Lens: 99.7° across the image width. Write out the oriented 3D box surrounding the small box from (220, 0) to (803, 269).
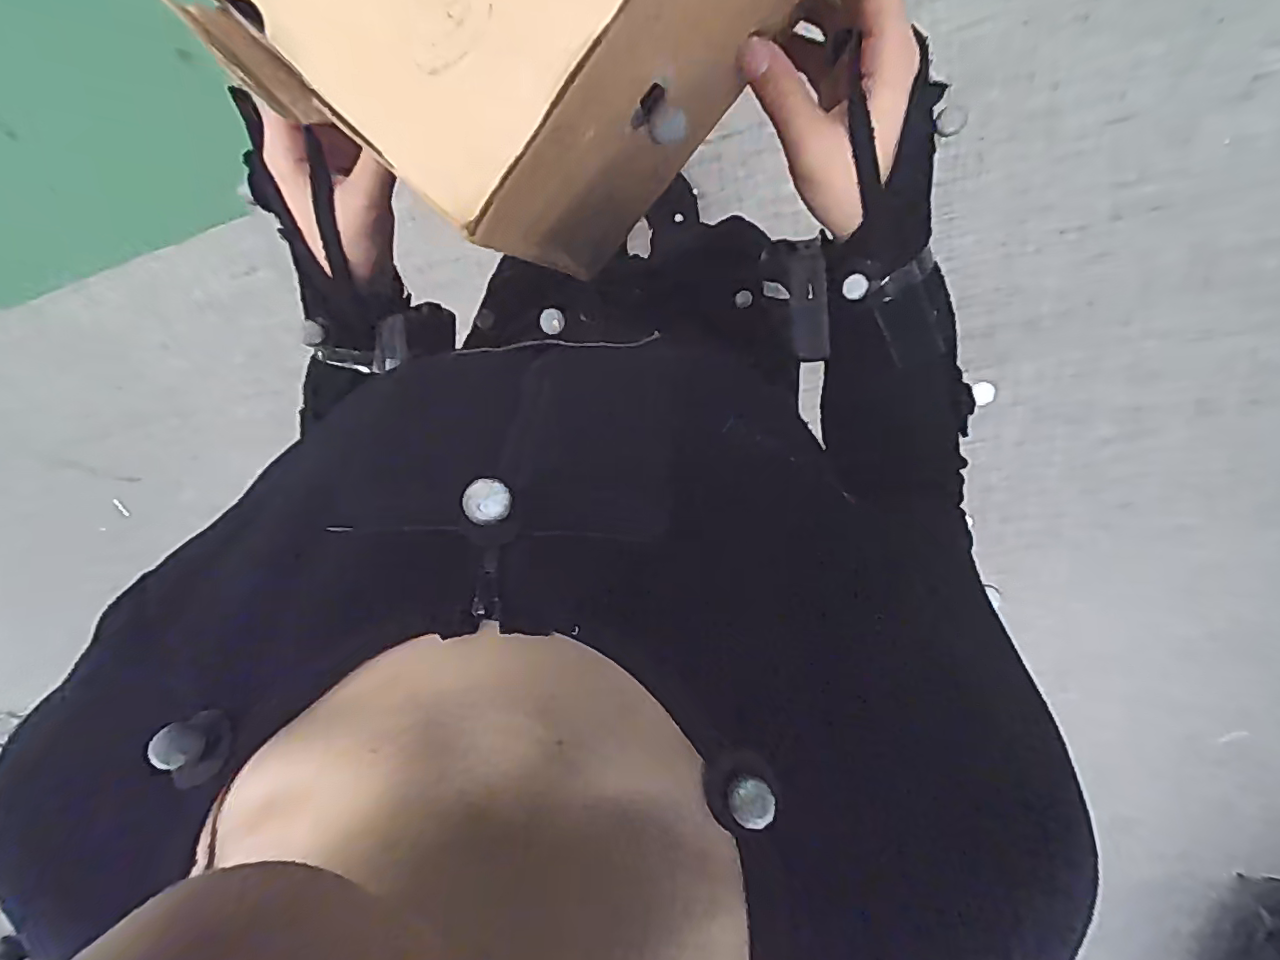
[{"bbox_3d":[-0.037,-0.209,0.218,0.168,0.176,0.179,42,107,-6],"label":"small box"}]
